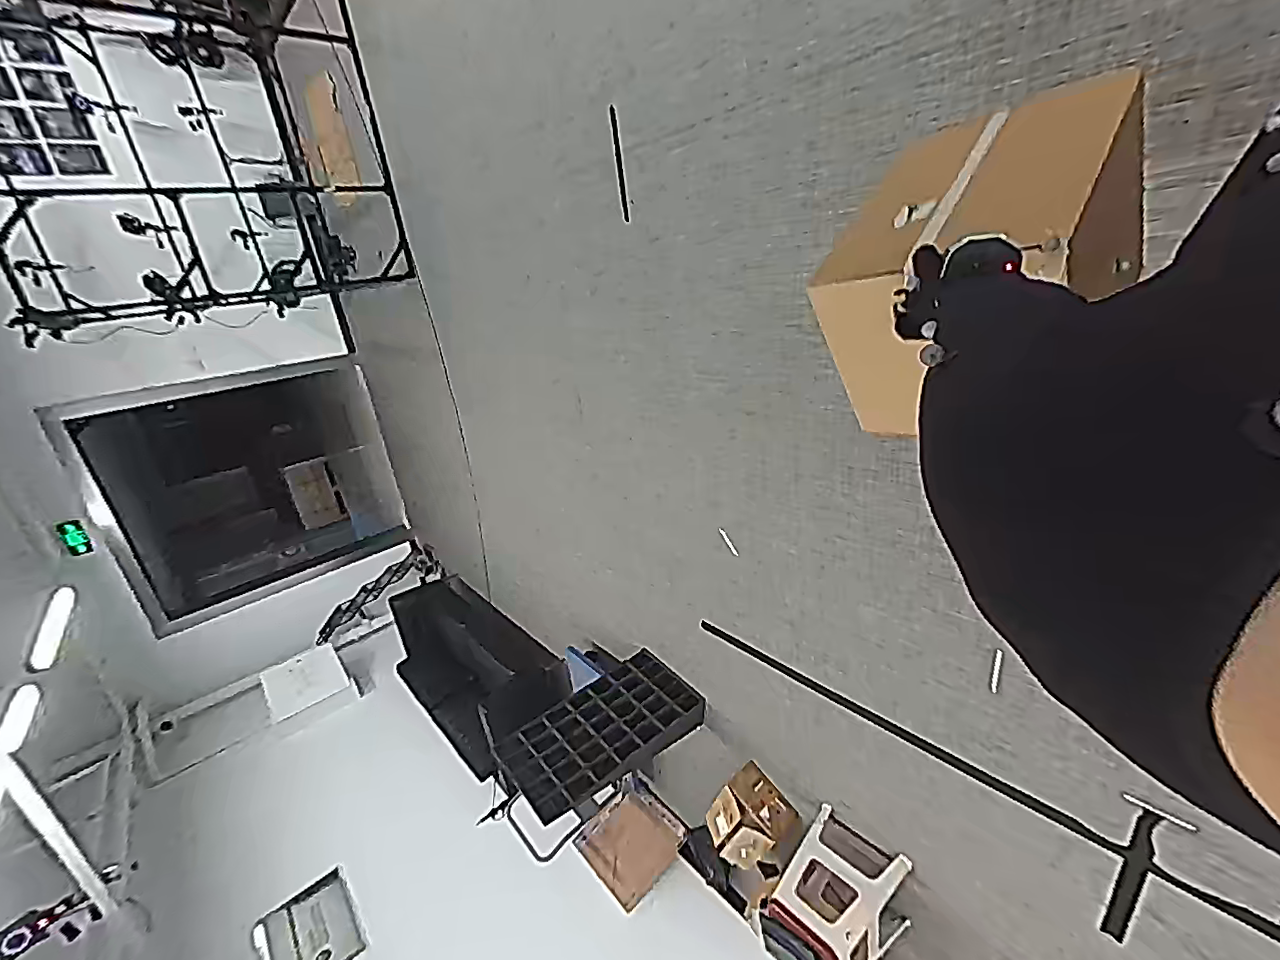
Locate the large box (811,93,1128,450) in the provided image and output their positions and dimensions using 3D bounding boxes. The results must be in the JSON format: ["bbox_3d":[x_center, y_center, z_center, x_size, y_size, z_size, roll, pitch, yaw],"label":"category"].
[{"bbox_3d":[0.535,-0.301,0.853,0.320,0.408,0.320,8,144,49],"label":"large box"}]
